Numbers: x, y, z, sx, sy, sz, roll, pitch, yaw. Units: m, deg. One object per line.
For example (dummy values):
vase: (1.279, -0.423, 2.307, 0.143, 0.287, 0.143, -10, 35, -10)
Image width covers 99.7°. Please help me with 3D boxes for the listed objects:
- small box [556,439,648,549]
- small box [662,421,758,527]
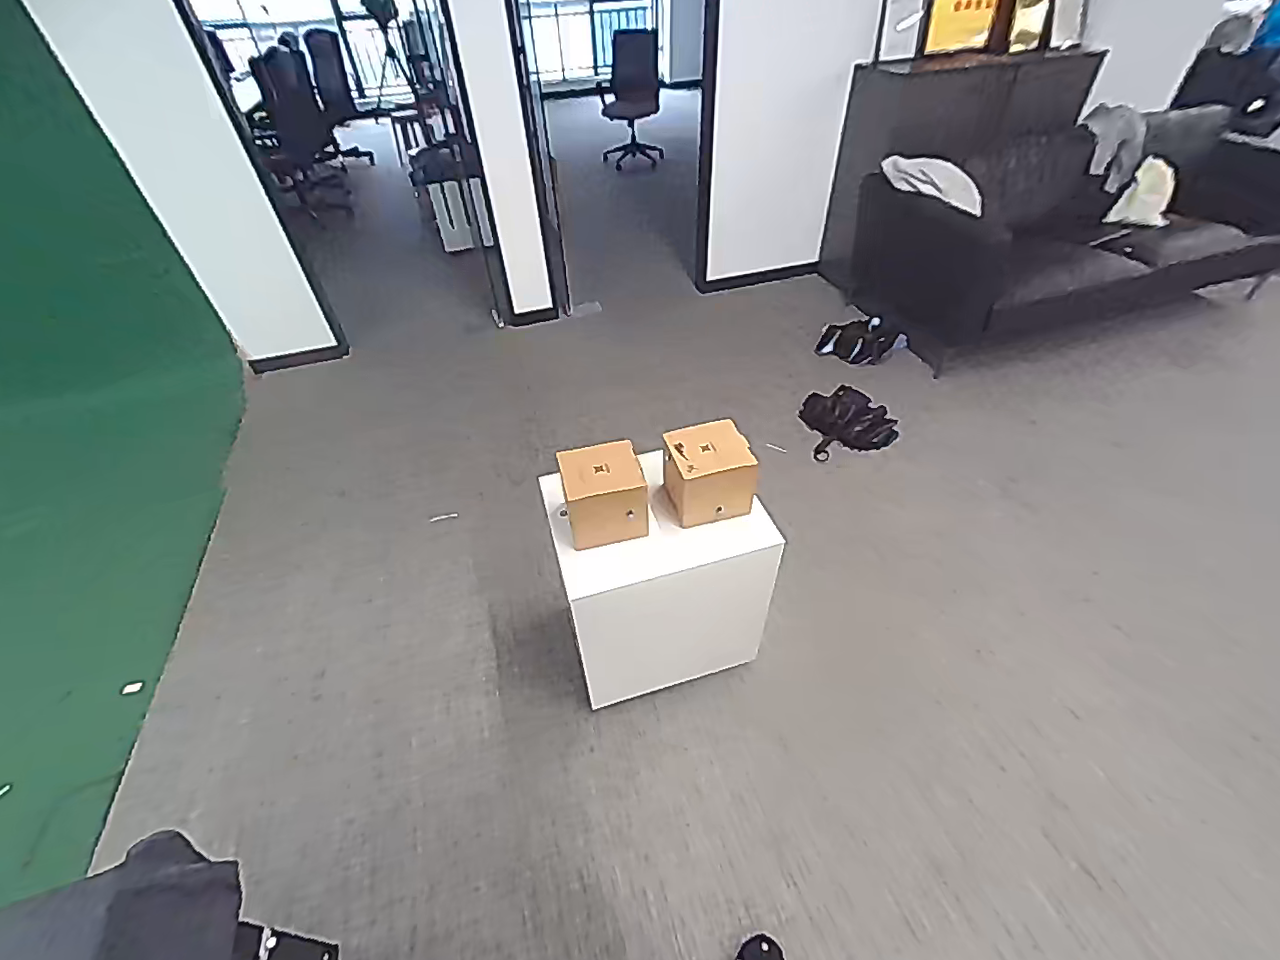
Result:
small box: (-0.086, 0.033, 1.235, 0.179, 0.176, 0.168, -12, 44, -10)
small box: (0.156, -0.013, 1.275, 0.179, 0.176, 0.168, -11, 45, -11)
